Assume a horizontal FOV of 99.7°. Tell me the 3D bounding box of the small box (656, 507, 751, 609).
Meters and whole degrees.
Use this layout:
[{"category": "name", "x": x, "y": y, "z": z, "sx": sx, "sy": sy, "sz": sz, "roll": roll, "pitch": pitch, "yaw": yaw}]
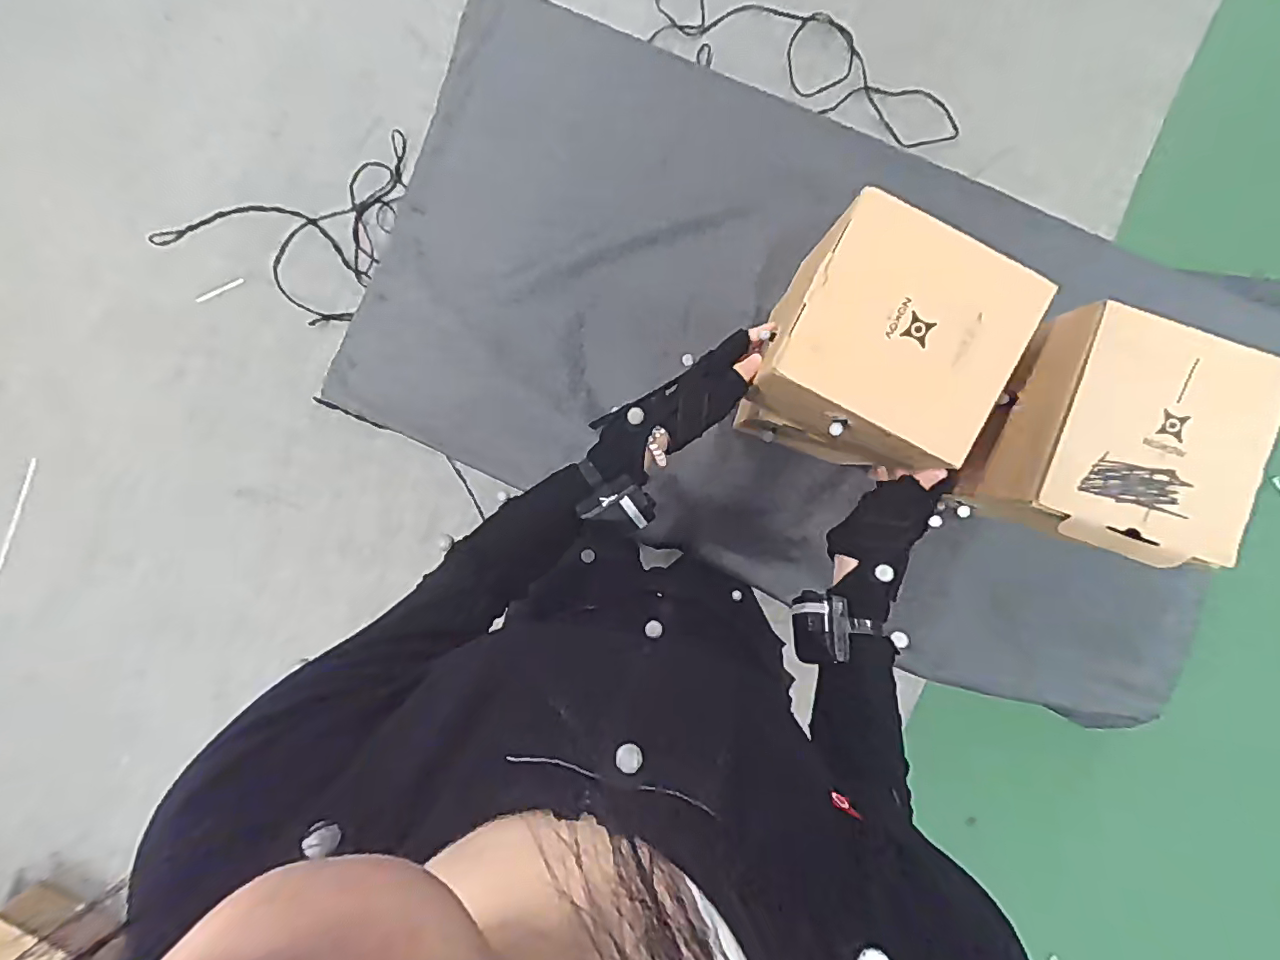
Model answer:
[{"category": "small box", "x": 0.158, "y": 0.207, "z": 1.422, "sx": 0.179, "sy": 0.176, "sz": 0.168, "roll": -25, "pitch": 57, "yaw": -23}]
